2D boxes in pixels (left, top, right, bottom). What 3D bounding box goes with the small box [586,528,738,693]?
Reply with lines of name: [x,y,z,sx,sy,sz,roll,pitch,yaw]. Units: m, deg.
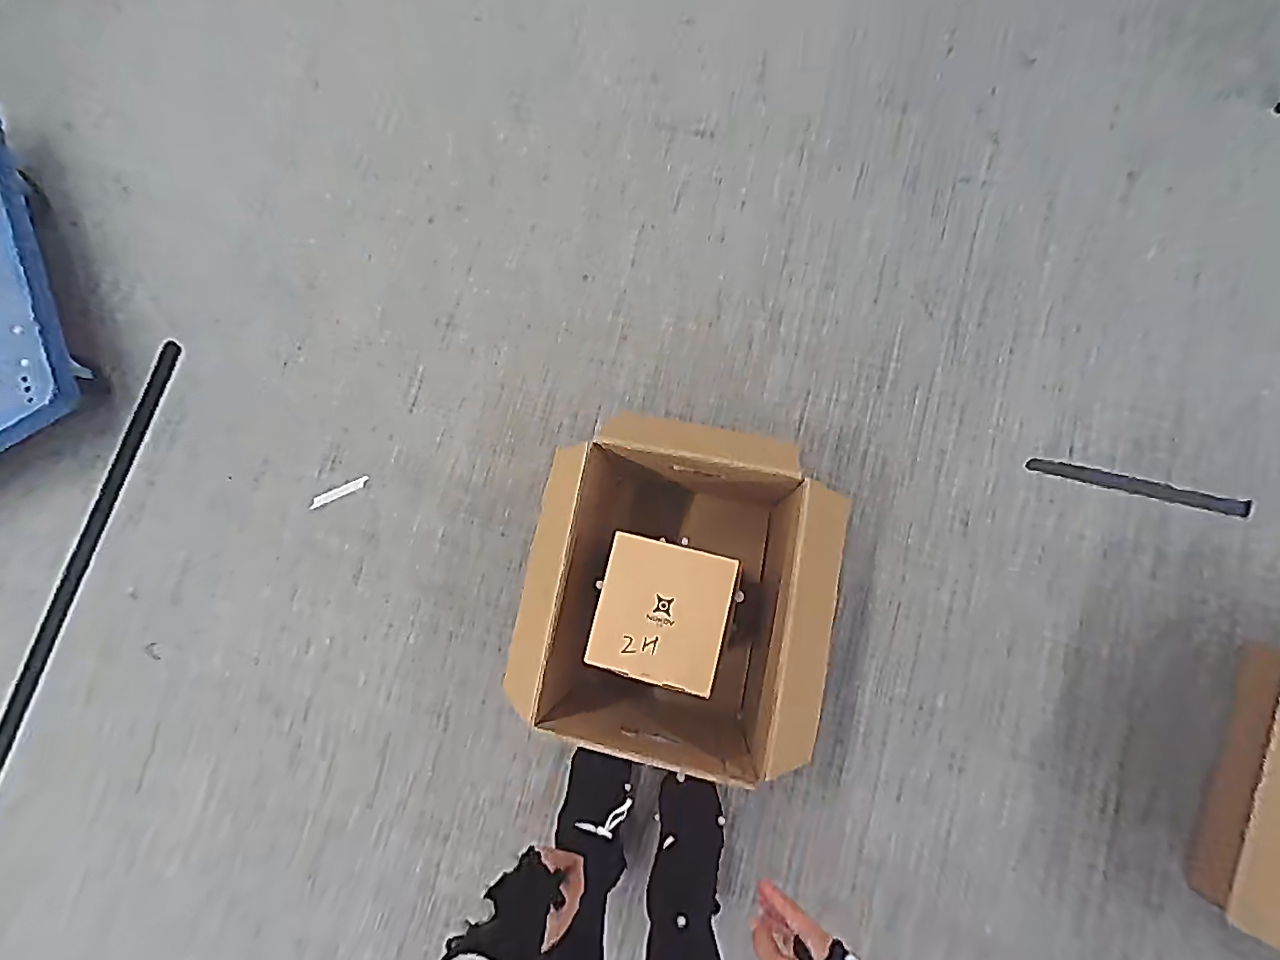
small box: [0.036,0.177,0.772,0.168,0.176,0.179,13,83,9]
